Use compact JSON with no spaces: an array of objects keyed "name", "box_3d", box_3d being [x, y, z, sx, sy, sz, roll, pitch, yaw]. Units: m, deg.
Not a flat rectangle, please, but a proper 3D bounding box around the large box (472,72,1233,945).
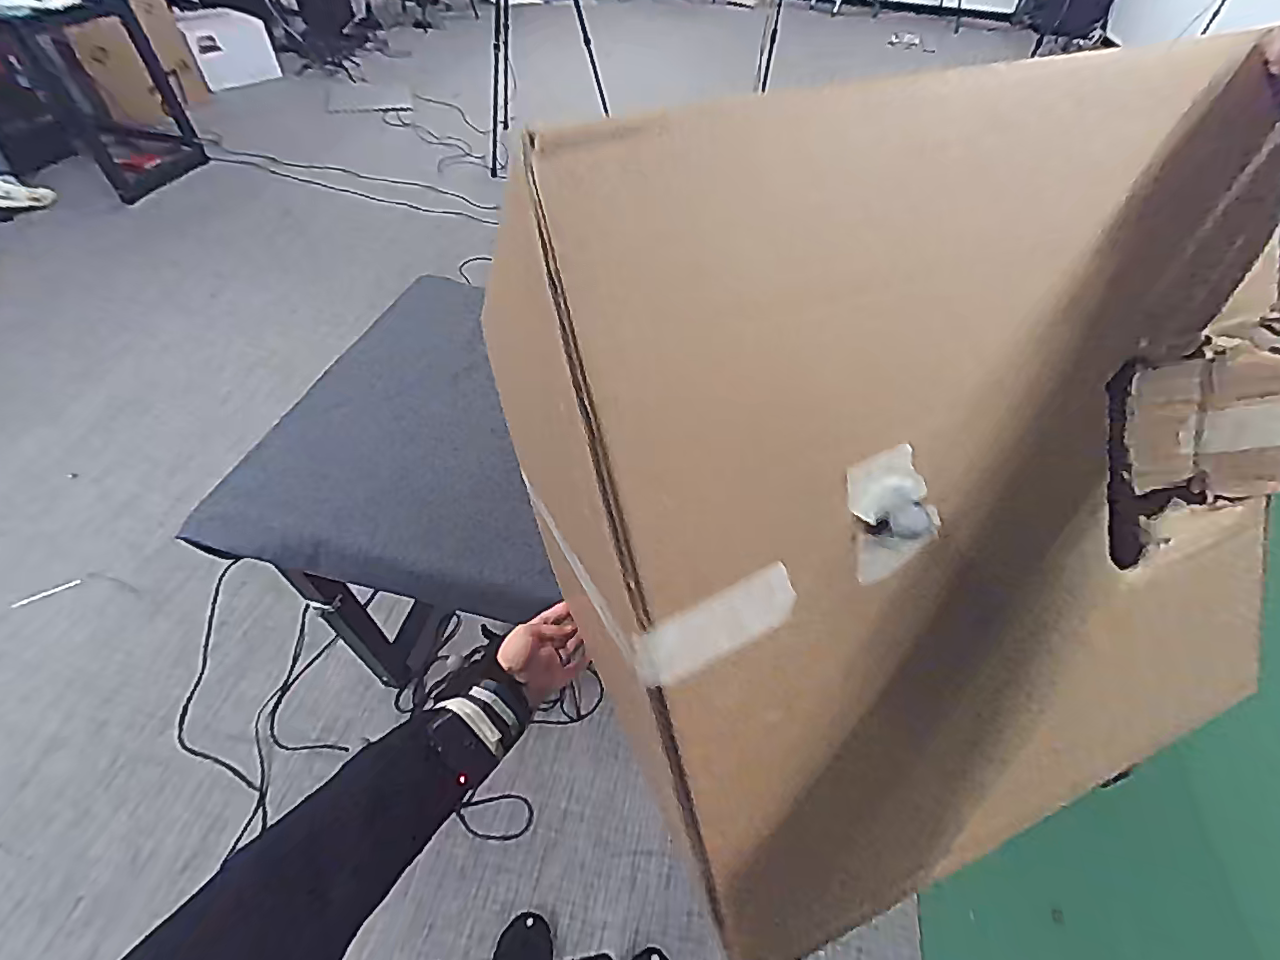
[{"name":"large box","box_3d":[0.082,-0.019,0.405,0.320,0.320,0.408,-19,16,-16]}]
